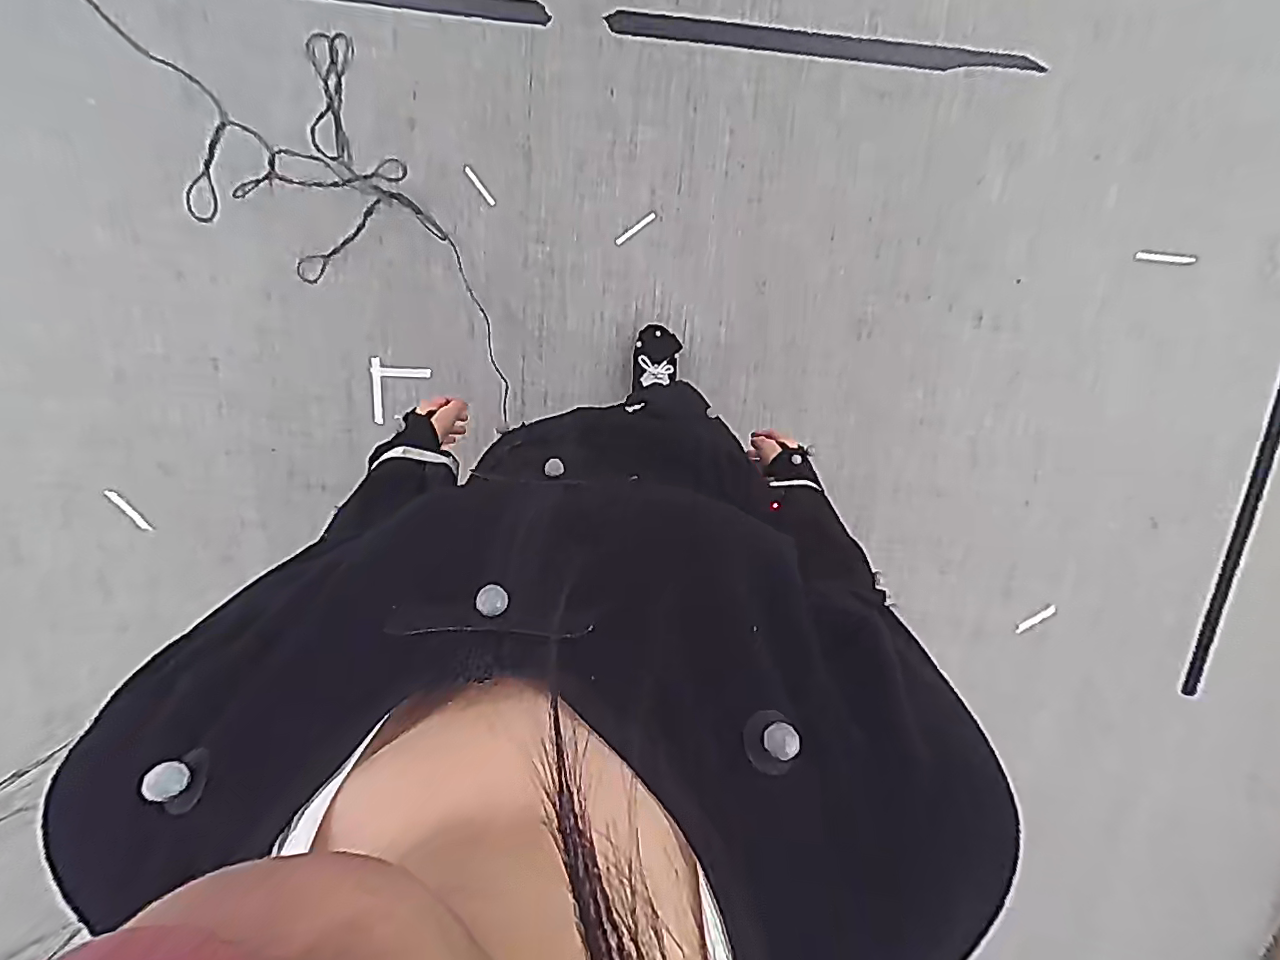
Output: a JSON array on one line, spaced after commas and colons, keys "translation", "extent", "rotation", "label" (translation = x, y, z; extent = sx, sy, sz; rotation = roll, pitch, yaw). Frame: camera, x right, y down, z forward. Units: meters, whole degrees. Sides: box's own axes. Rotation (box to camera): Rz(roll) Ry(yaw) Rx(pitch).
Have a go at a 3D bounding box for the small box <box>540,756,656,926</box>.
[{"translation": [-0.069, 0.610, 0.932], "extent": [0.168, 0.176, 0.179], "rotation": [8, 102, -2], "label": "small box"}]
